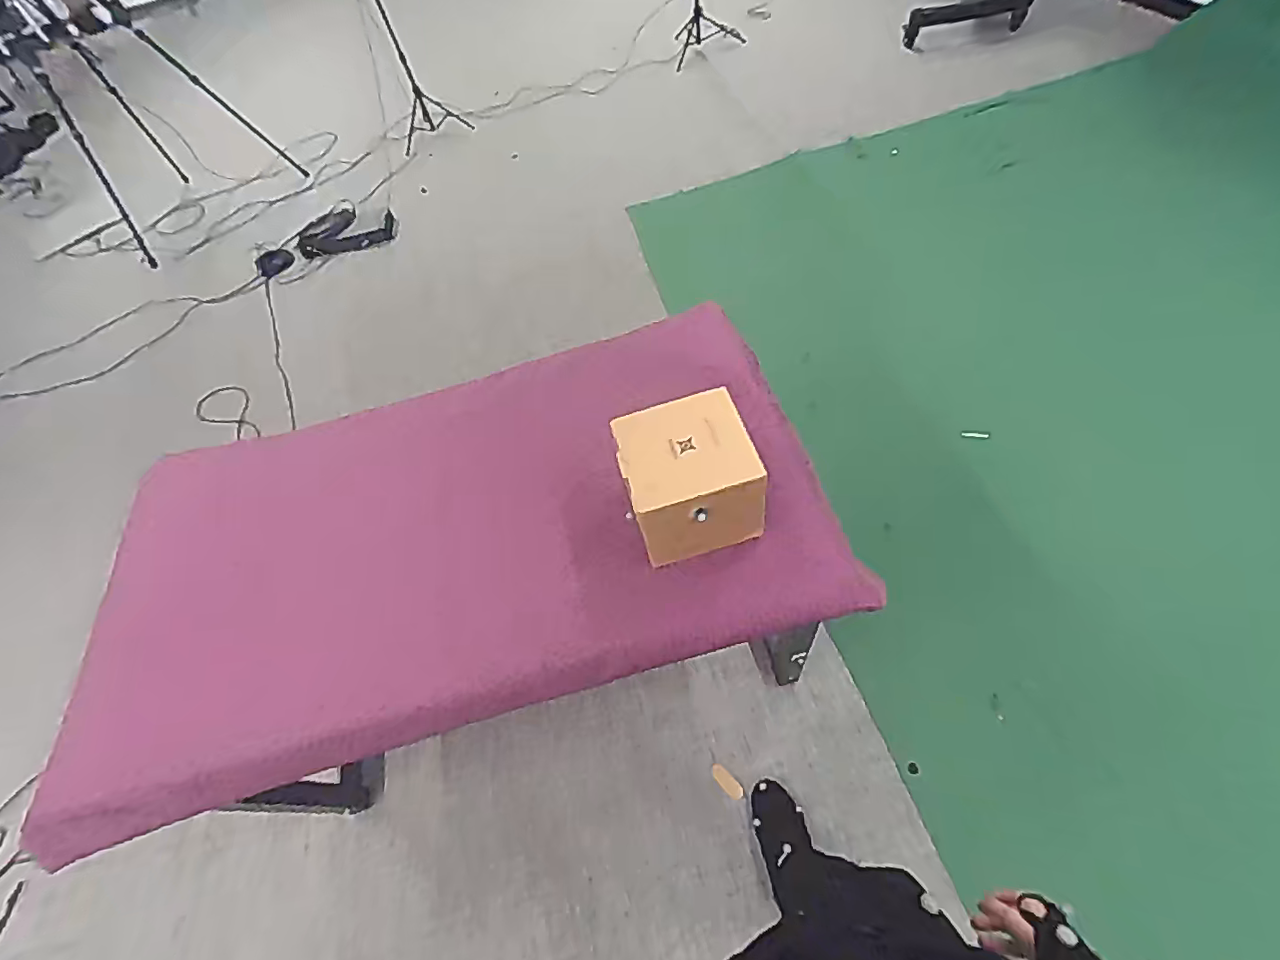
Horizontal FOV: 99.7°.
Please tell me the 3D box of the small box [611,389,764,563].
[{"bbox_3d":[0.071,0.002,0.788,0.179,0.176,0.168,-15,55,0],"label":"small box"}]
